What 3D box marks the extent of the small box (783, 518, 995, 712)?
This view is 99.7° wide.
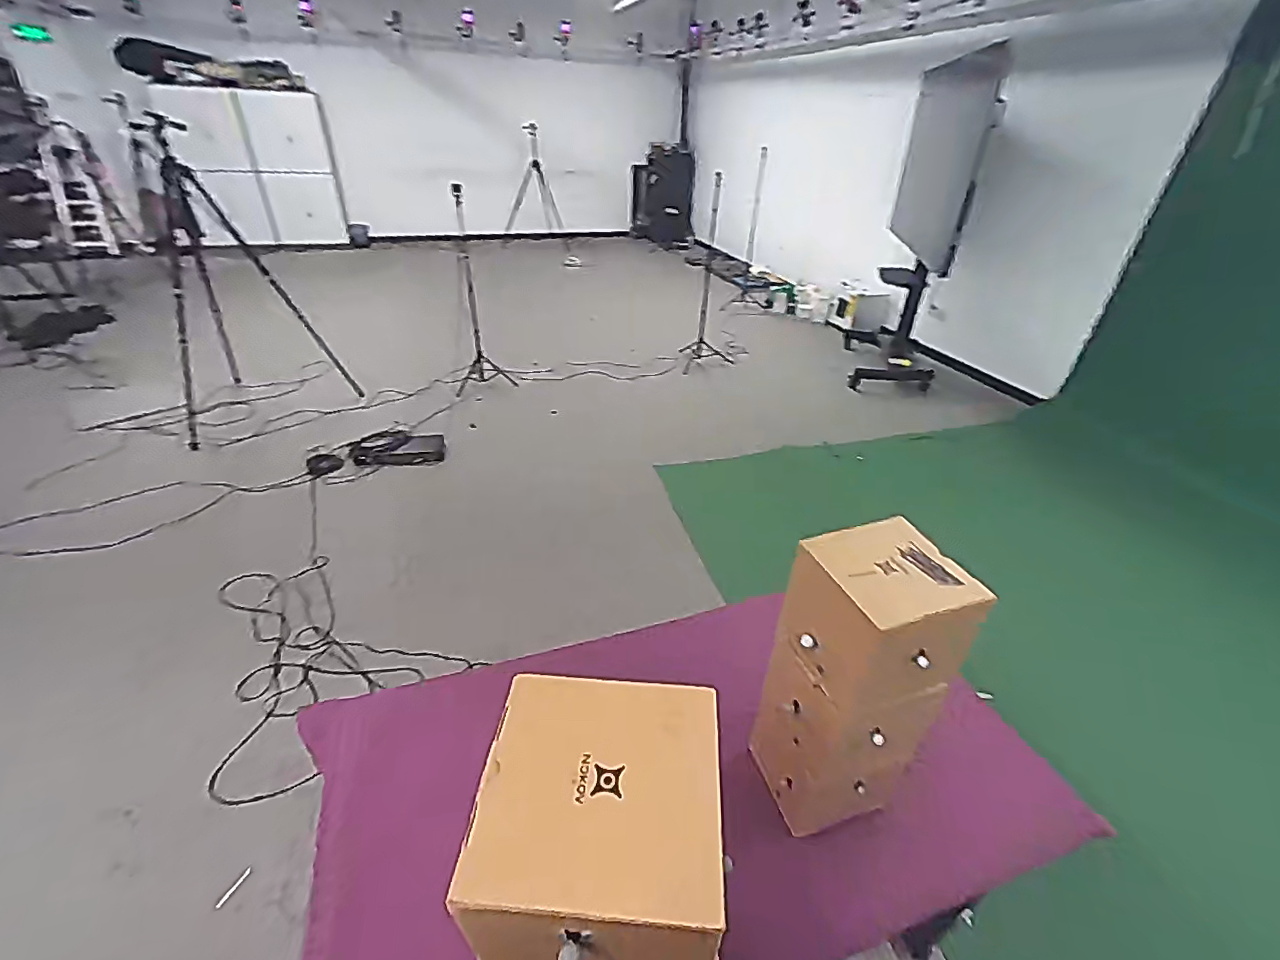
[{"bbox_3d":[0.318,0.178,0.730,0.179,0.176,0.168,-10,36,-17],"label":"small box"}]

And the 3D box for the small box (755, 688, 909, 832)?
[{"bbox_3d":[0.307,0.453,0.910,0.179,0.176,0.168,-8,35,-15],"label":"small box"}]

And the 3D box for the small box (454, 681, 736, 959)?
[{"bbox_3d":[-0.021,0.288,0.438,0.179,0.176,0.168,2,37,5],"label":"small box"}]

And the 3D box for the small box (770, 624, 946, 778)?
[{"bbox_3d":[0.312,0.316,0.821,0.179,0.176,0.168,-10,37,-16],"label":"small box"}]
